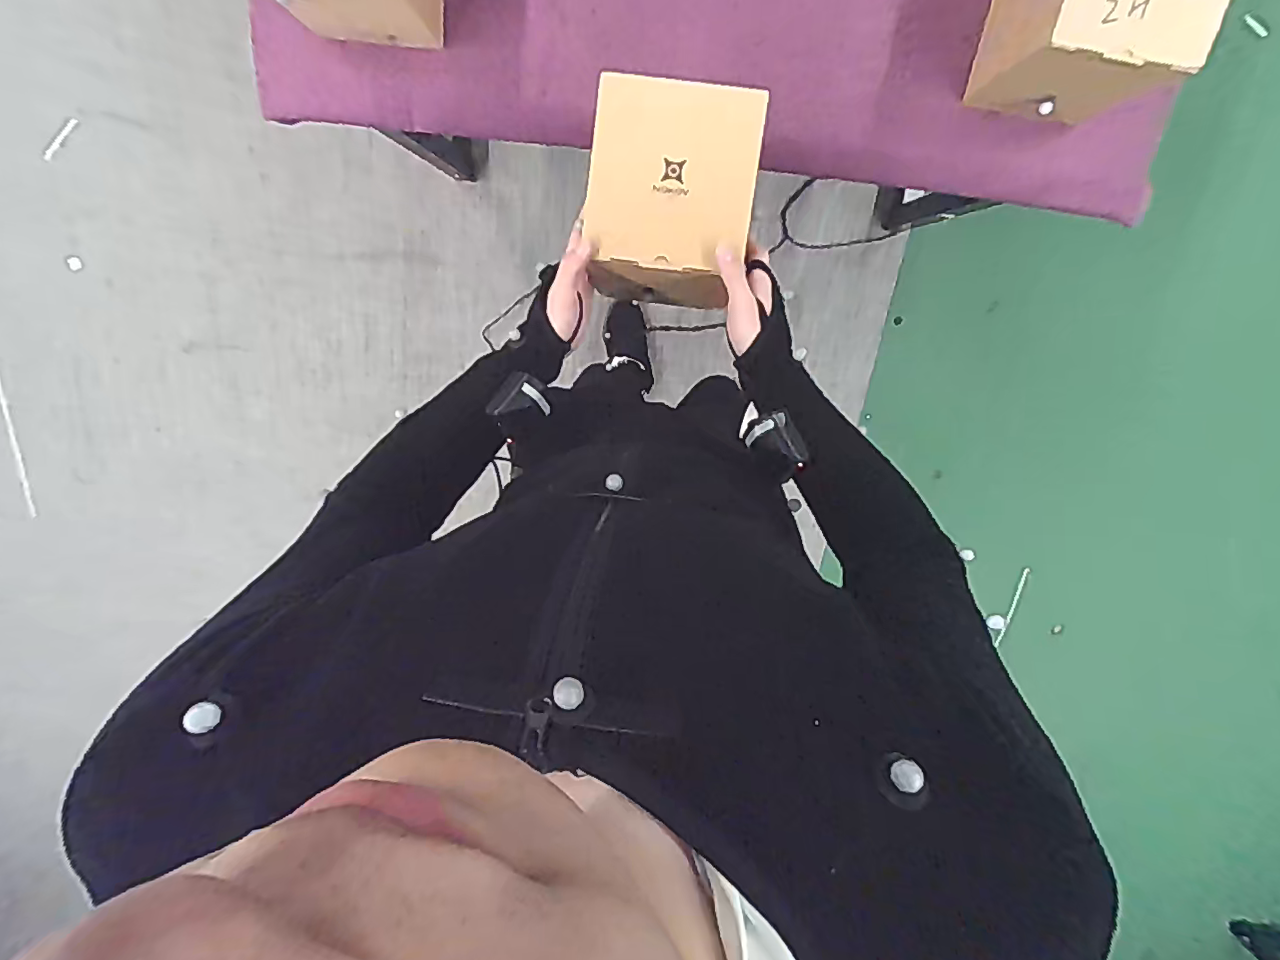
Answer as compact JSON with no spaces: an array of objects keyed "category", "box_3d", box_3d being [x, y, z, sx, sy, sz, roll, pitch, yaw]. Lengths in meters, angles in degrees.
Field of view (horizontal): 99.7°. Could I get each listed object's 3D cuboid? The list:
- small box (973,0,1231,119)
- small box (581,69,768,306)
[{"category":"small box","box_3d":[0.516,-0.544,0.606,0.168,0.176,0.179,9,108,0]},{"category":"small box","box_3d":[0.034,-0.310,0.608,0.168,0.176,0.179,8,98,1]}]
